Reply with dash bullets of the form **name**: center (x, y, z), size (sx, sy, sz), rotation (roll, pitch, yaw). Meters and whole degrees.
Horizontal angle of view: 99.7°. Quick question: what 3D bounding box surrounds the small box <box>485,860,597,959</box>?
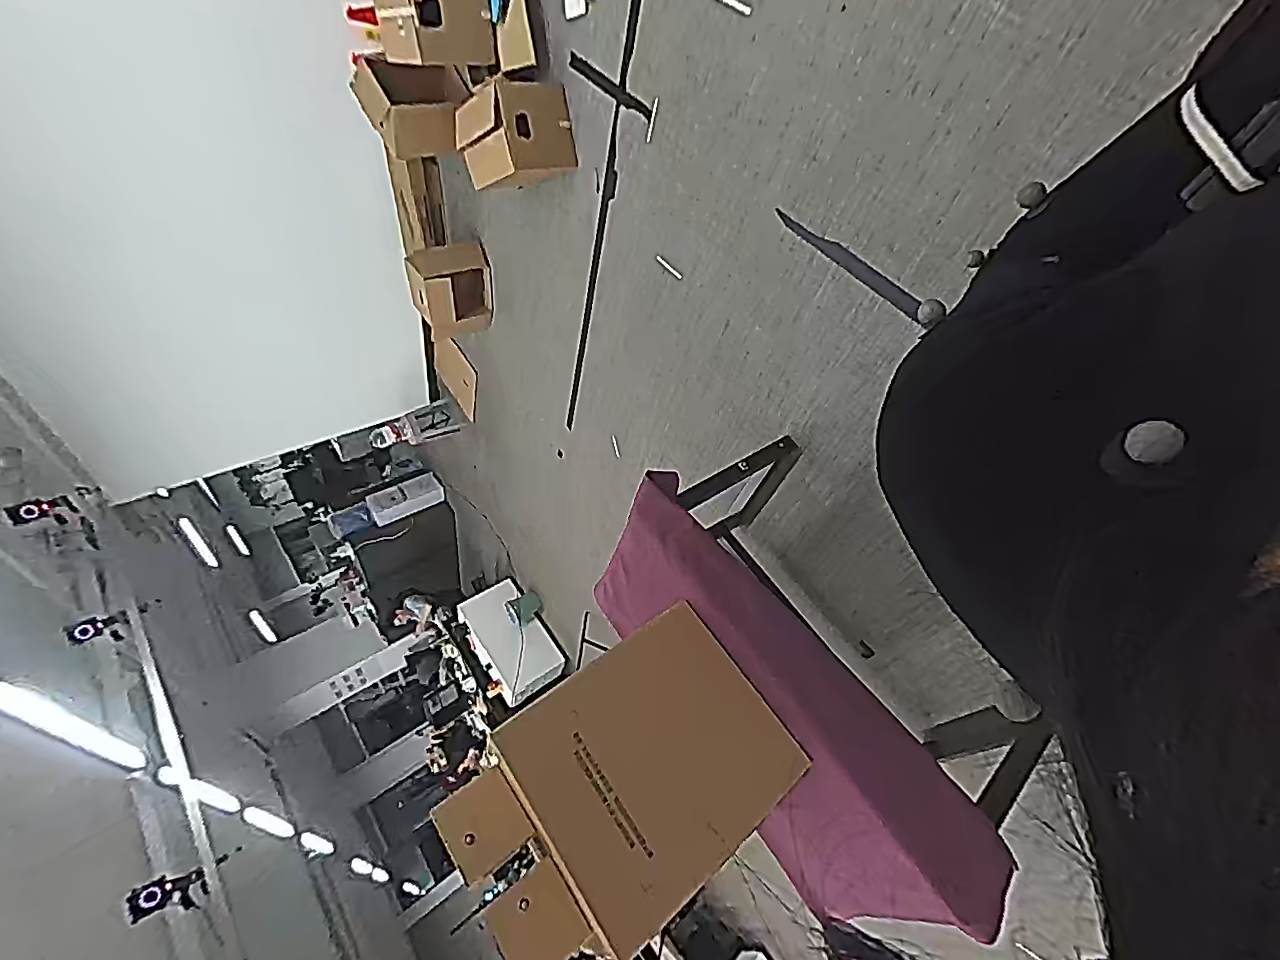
- **small box**: center (-0.217, 0.959, 1.169), size (0.179, 0.176, 0.168), rotation (48, 146, 24)

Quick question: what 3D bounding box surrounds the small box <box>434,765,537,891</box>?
- **small box**: center (-0.354, 0.807, 1.257), size (0.179, 0.176, 0.168), rotation (48, 145, 24)
